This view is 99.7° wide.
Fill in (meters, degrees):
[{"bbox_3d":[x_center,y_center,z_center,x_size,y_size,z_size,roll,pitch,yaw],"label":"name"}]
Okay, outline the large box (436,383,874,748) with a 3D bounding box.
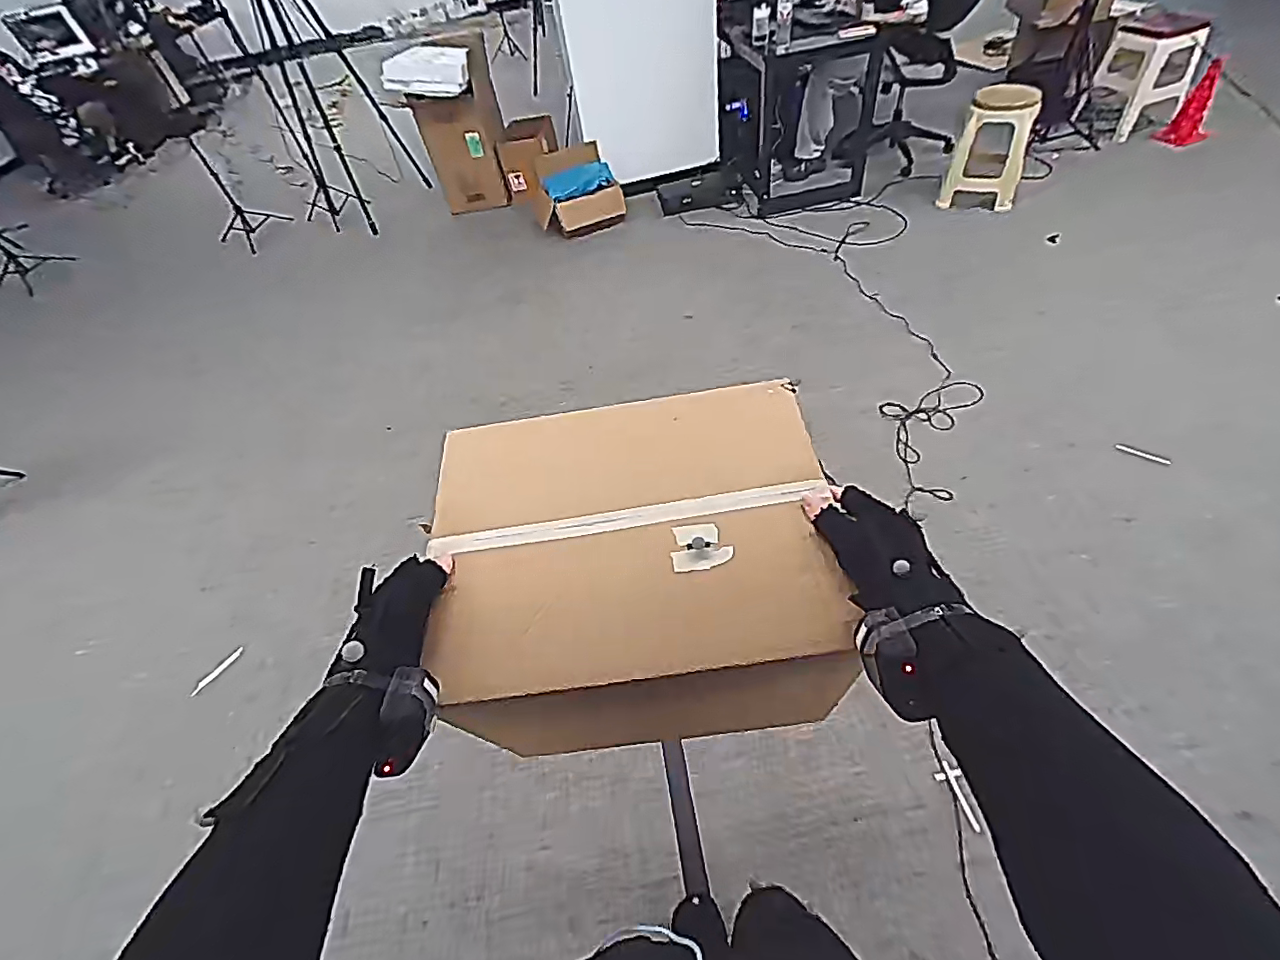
[{"bbox_3d":[0.010,0.122,0.683,0.408,0.320,0.320,-8,56,2],"label":"large box"}]
